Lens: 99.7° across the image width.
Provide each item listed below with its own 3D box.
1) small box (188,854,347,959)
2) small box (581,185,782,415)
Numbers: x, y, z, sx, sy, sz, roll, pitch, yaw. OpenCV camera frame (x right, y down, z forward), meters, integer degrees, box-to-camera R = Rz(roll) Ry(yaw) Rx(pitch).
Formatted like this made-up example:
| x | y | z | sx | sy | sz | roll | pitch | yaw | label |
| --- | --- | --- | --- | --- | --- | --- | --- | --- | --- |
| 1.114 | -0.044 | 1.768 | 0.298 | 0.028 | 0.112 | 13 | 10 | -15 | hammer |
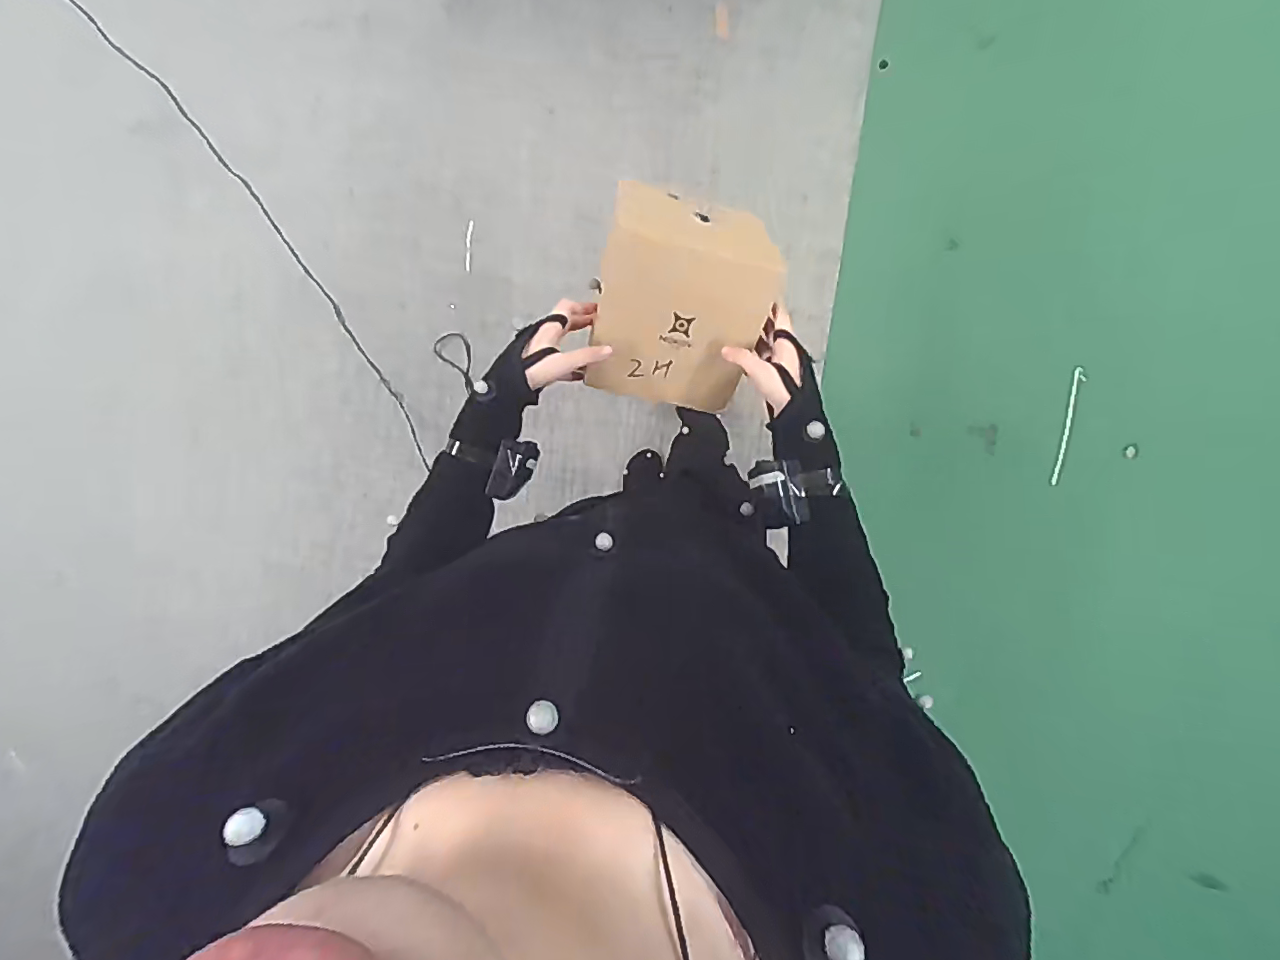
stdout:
| x | y | z | sx | sy | sz | roll | pitch | yaw | label |
| --- | --- | --- | --- | --- | --- | --- | --- | --- | --- |
| -0.665 | 0.816 | 0.966 | 0.179 | 0.176 | 0.168 | 12 | 97 | 0 | small box |
| 0.033 | -0.203 | 0.606 | 0.168 | 0.176 | 0.179 | 11 | 131 | -10 | small box |
